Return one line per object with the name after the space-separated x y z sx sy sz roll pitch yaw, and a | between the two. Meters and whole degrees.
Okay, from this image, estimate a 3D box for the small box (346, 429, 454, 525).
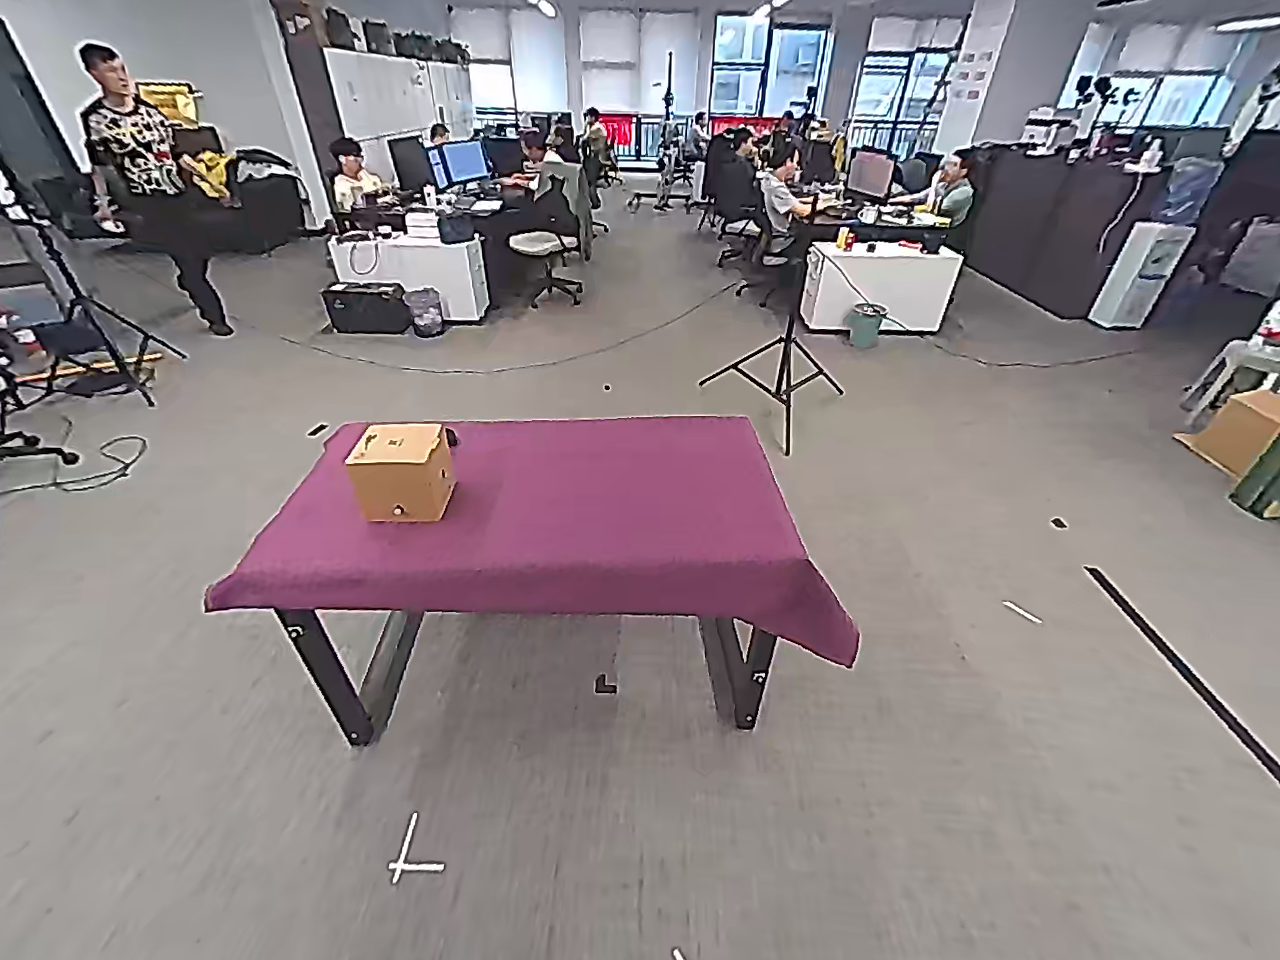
-0.552 -0.006 1.275 0.179 0.176 0.168 0 35 -3 | small box
